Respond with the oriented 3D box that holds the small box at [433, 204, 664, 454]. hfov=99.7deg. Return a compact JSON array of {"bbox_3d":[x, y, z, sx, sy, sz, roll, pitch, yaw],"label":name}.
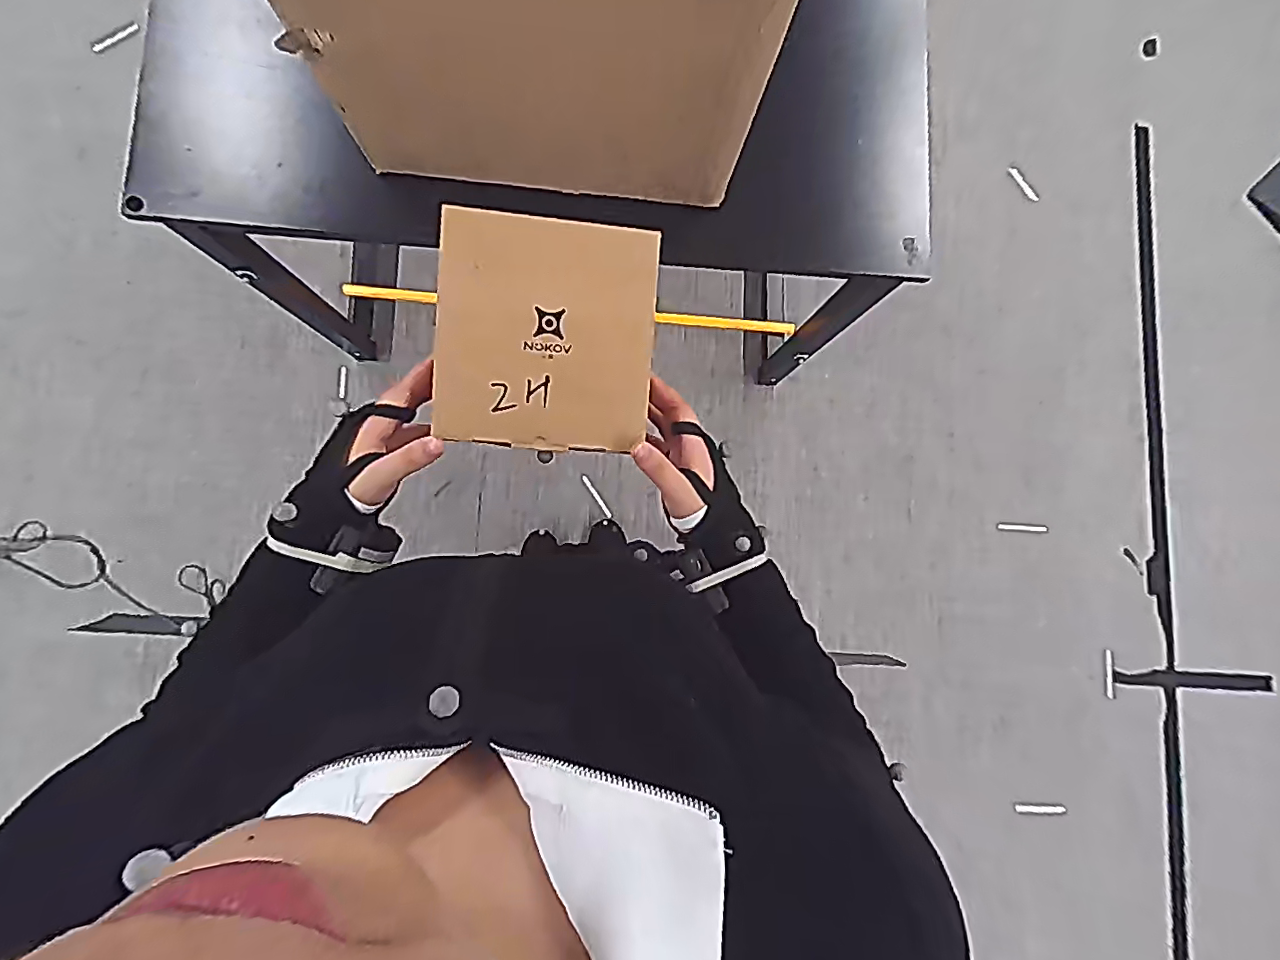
[{"bbox_3d":[-0.079,-0.117,0.492,0.168,0.176,0.179,4,93,-7],"label":"small box"}]
